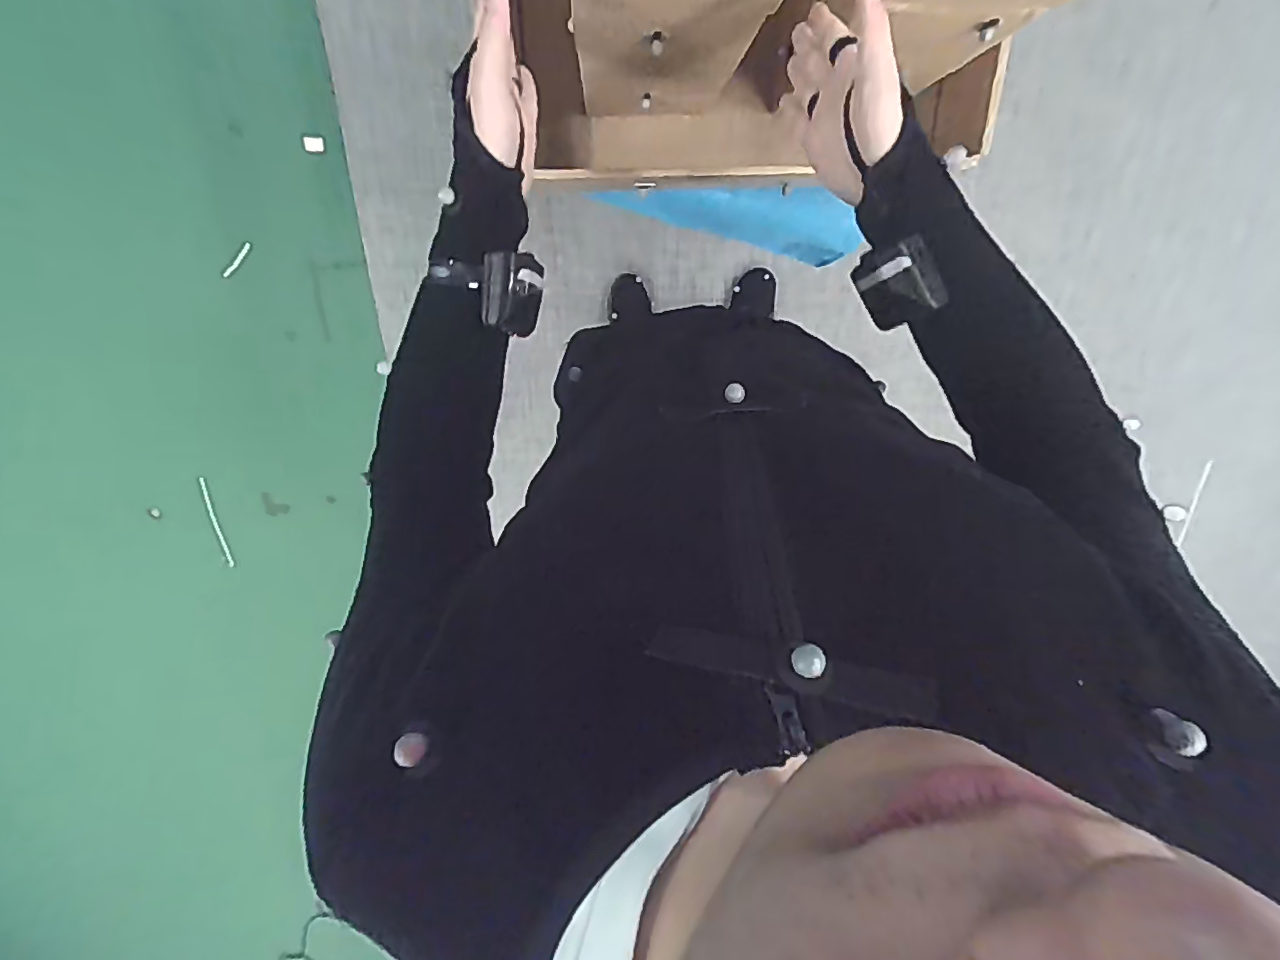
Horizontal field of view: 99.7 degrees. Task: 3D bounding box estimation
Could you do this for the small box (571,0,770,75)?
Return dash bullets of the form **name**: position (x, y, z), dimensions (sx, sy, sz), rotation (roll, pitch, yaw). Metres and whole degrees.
- **small box**: position (0.023, -0.510, 0.514), dimensions (0.179, 0.176, 0.168), rotation (-3, 111, -2)
